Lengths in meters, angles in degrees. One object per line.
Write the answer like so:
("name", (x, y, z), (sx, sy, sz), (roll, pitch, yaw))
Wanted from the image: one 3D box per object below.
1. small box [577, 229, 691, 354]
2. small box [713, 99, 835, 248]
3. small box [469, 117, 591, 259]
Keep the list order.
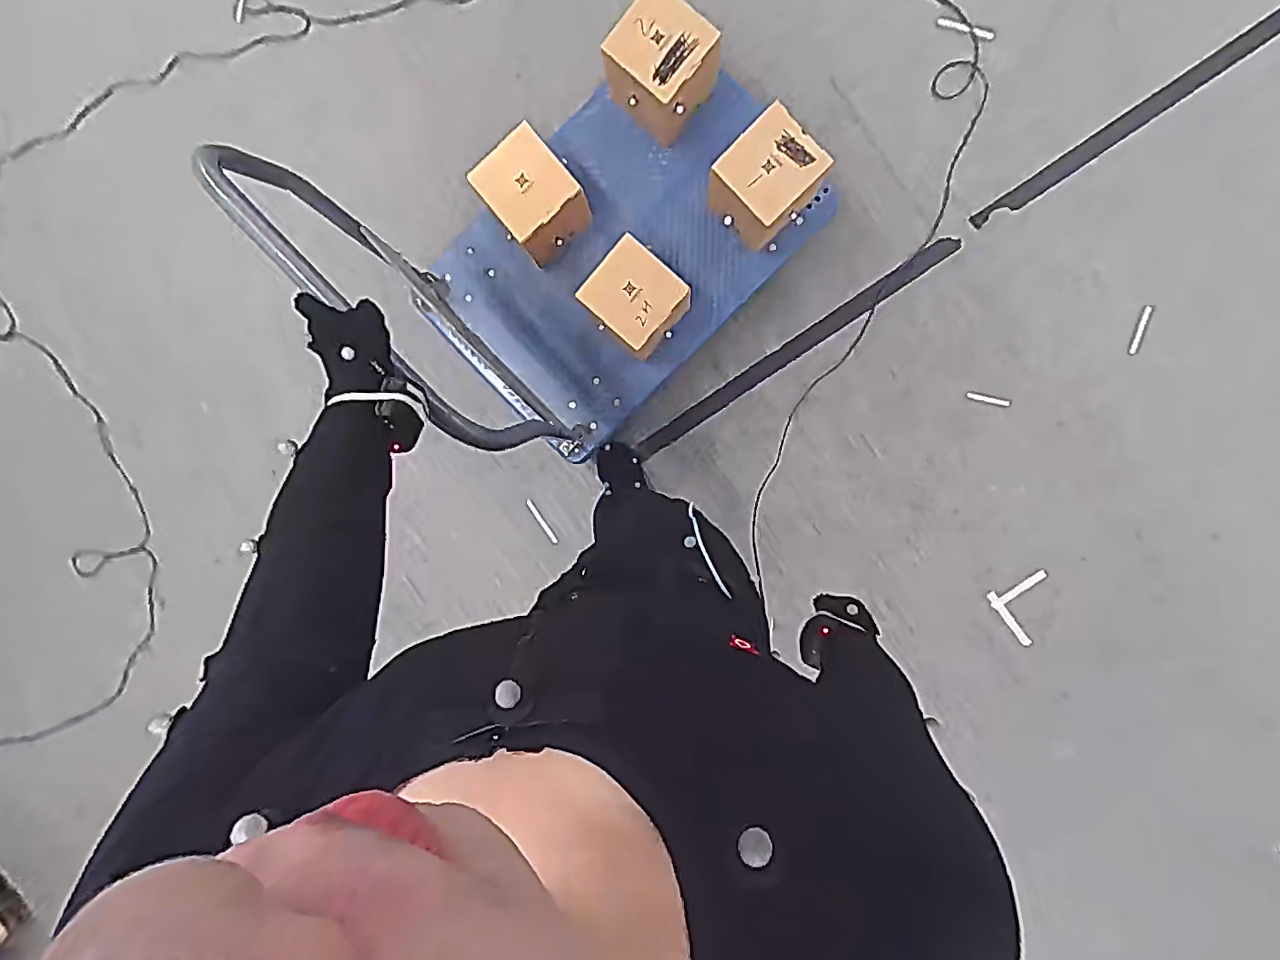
("small box", (-0.008, -0.392, 1.166), (0.179, 0.176, 0.168), (42, 97, -1))
("small box", (0.266, -0.625, 1.126), (0.179, 0.176, 0.168), (-43, 91, 7))
("small box", (-0.226, -0.612, 1.161), (0.168, 0.176, 0.179), (-40, 93, 6))
